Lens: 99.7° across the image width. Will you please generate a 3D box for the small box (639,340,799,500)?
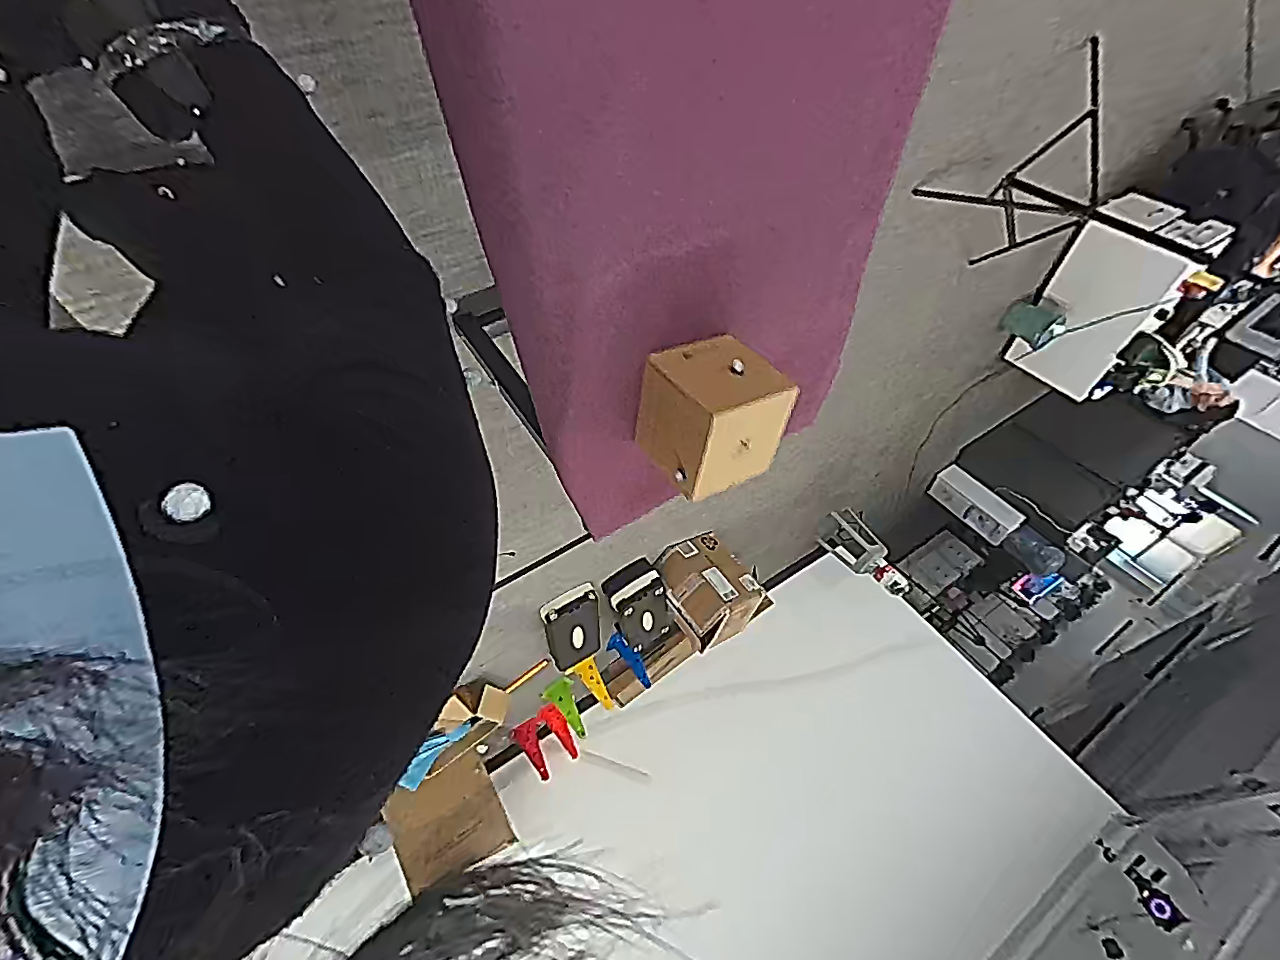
[{"bbox_3d":[0.114,-0.105,0.859,0.168,0.176,0.179,-22,143,-27],"label":"small box"}]
